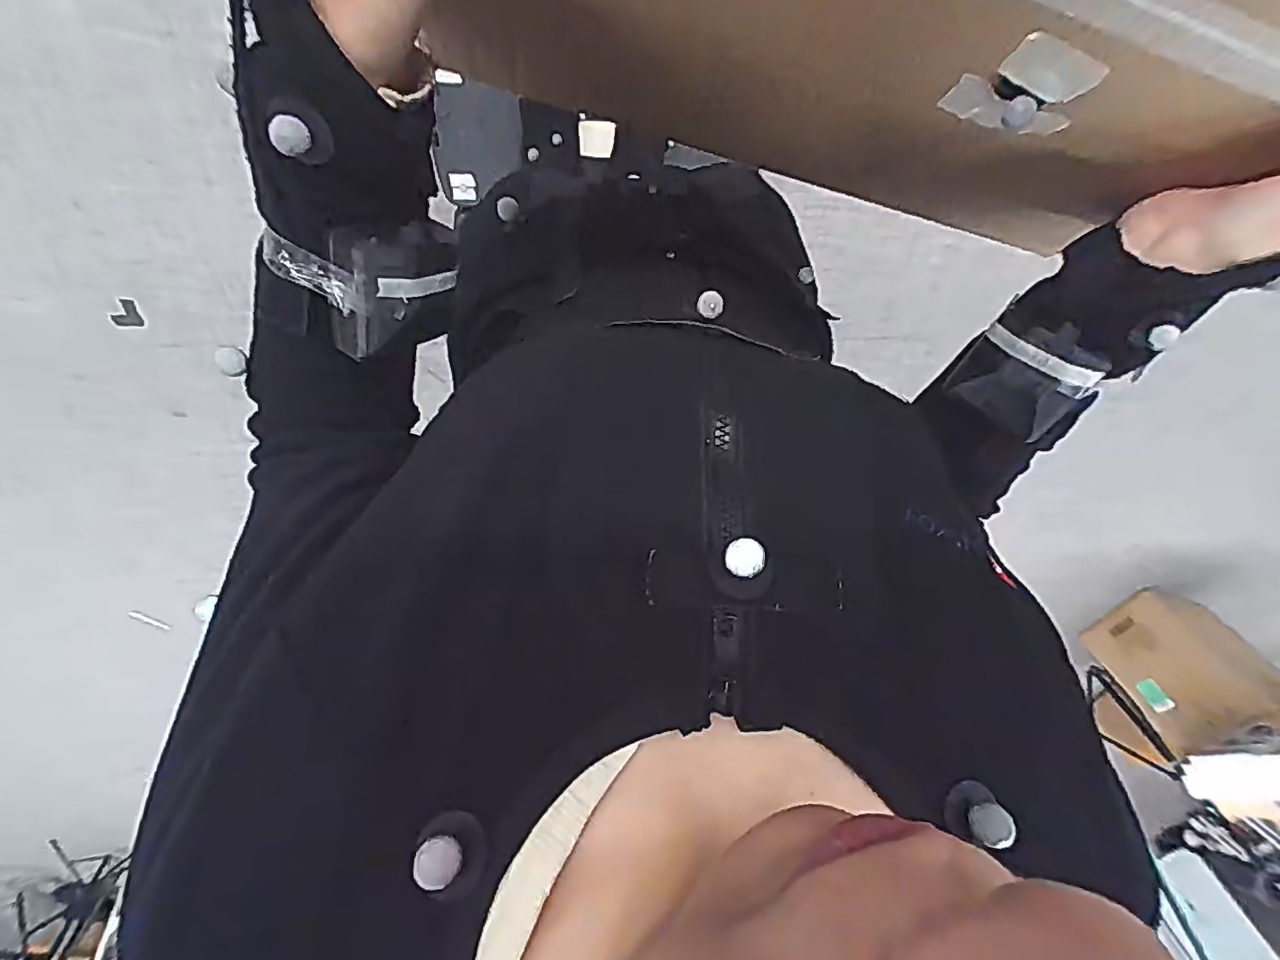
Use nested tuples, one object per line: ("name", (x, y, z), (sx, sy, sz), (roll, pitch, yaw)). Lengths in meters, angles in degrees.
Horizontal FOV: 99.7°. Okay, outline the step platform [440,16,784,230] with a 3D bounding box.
("step platform", (-0.054, -0.726, 1.122), (0.684, 0.204, 0.286), (3, 128, -11))
